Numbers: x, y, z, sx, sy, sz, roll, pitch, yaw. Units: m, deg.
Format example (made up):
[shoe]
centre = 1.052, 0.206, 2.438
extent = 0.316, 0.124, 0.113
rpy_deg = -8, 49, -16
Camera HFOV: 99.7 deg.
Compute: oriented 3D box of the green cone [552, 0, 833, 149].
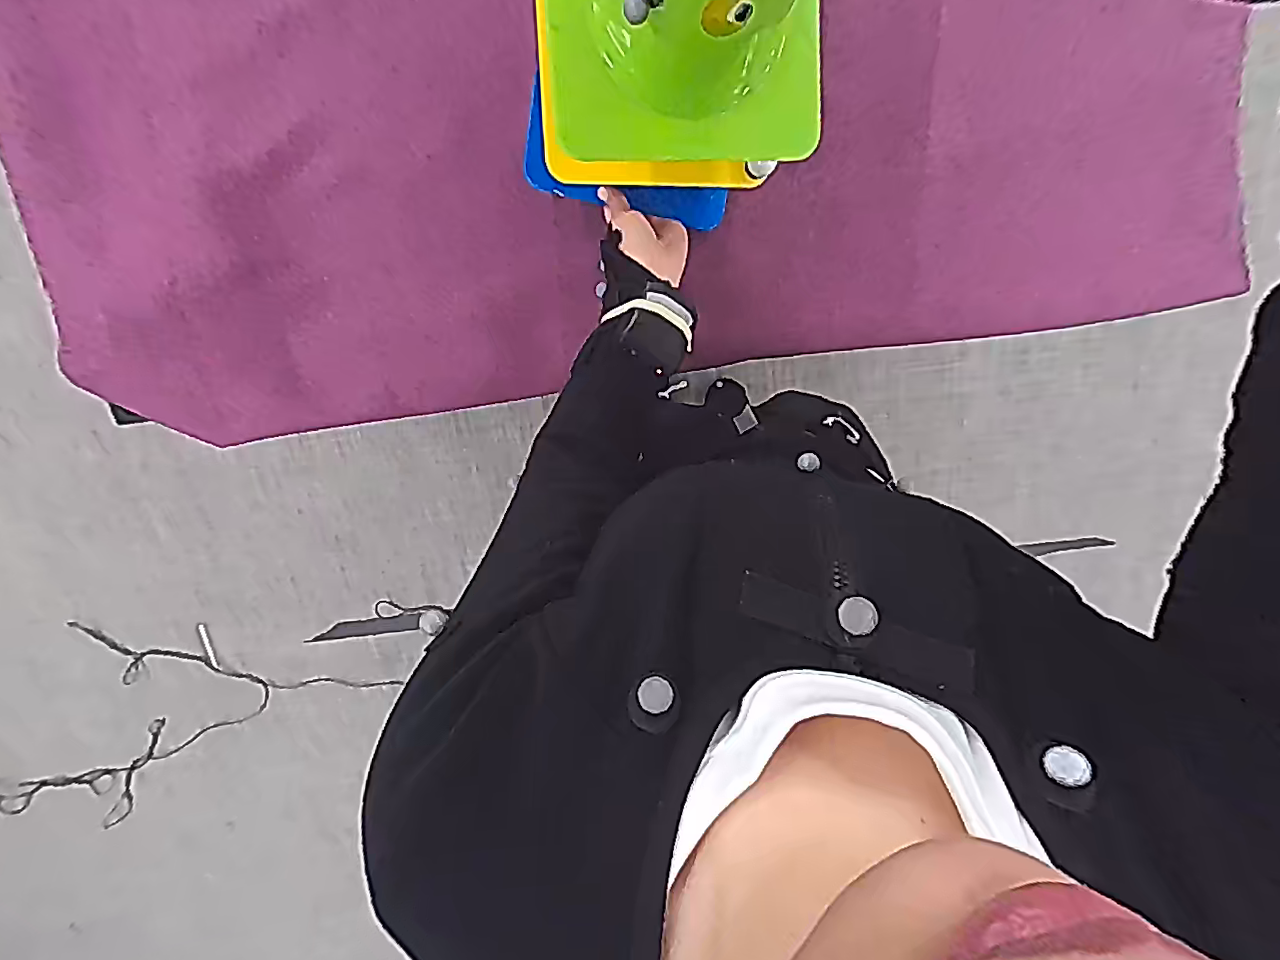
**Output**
[green cone]
centre = 0.060, -0.312, 0.205
extent = 0.200, 0.368, 0.202
rpy_deg = -5, 100, -6
